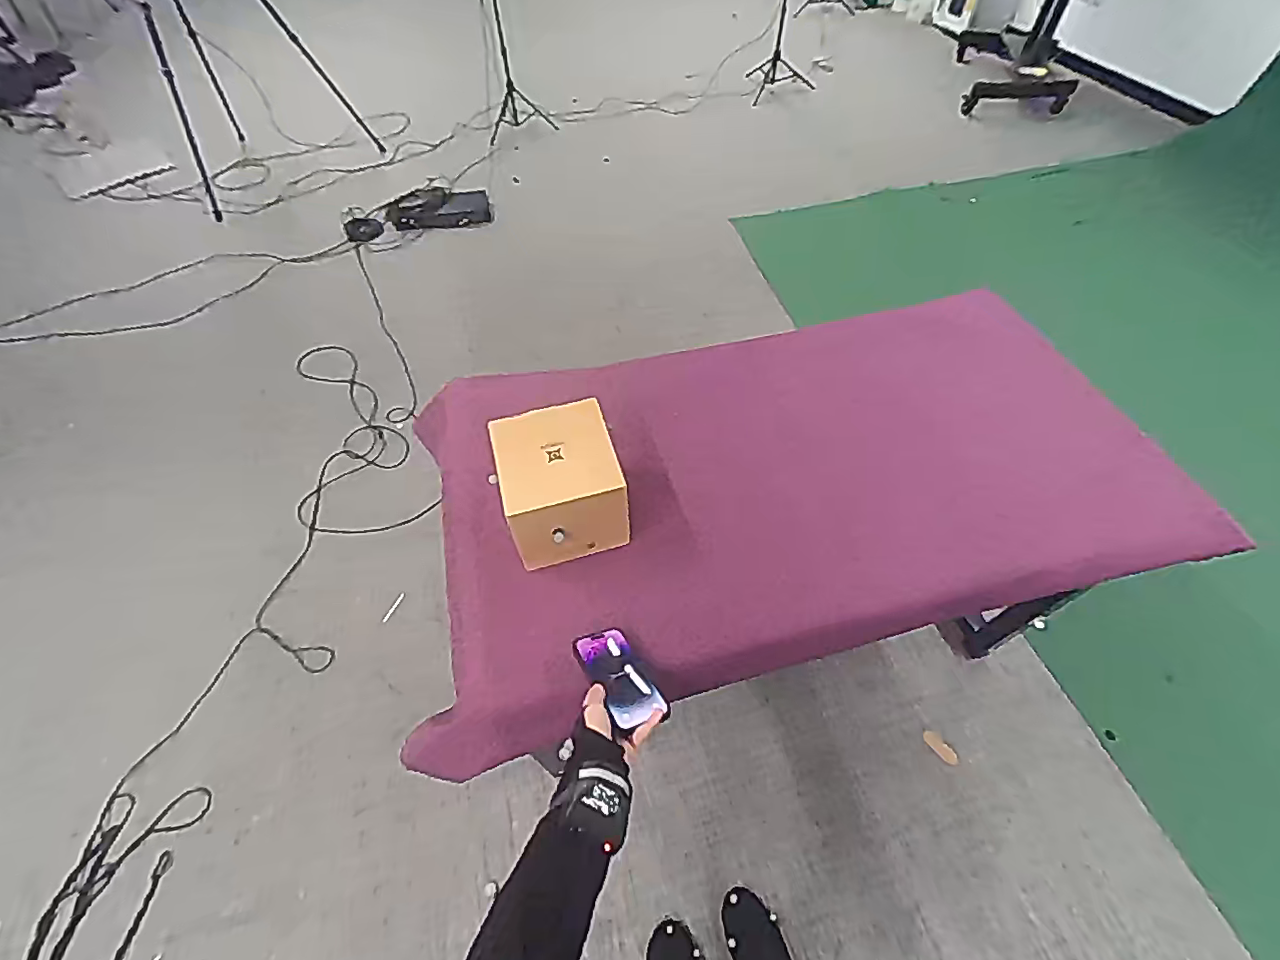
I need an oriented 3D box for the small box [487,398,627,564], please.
[{"bbox_3d":[-0.120,0.010,0.820,0.168,0.176,0.179,-15,54,-9],"label":"small box"}]
